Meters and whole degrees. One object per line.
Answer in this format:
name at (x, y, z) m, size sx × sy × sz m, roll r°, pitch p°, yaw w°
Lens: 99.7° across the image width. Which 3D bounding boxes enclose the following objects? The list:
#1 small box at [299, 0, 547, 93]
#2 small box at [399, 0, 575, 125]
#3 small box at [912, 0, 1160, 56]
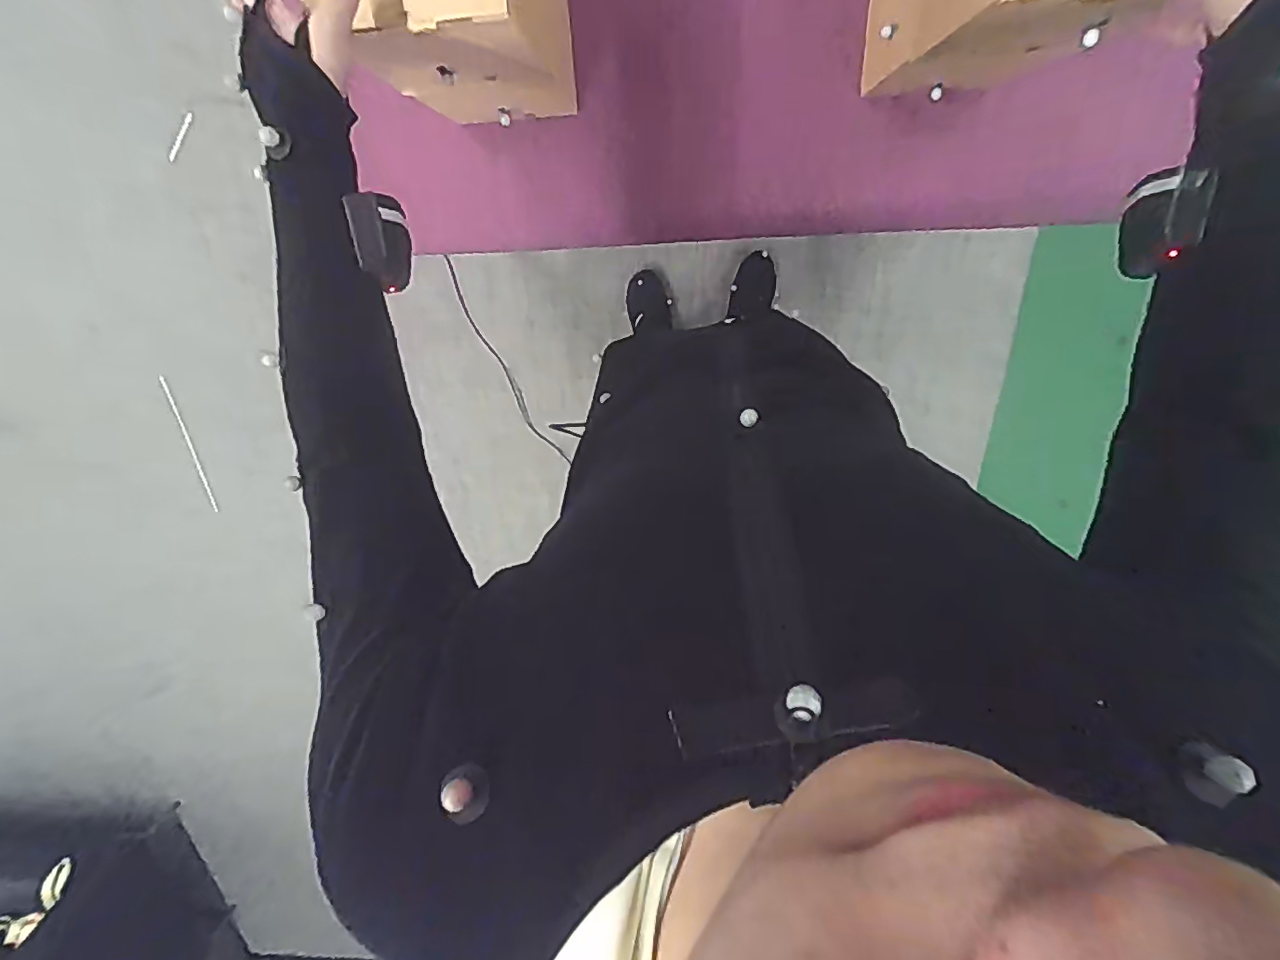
small box at (-0.186, -0.468, 0.469) m, size 0.168 × 0.176 × 0.179 m, roll -2°, pitch 114°, yaw 5°
small box at (-0.175, -0.530, 0.618) m, size 0.168 × 0.176 × 0.179 m, roll -1°, pitch 113°, yaw 5°
small box at (0.337, -0.464, 0.428) m, size 0.168 × 0.176 × 0.179 m, roll -1°, pitch 113°, yaw 5°
